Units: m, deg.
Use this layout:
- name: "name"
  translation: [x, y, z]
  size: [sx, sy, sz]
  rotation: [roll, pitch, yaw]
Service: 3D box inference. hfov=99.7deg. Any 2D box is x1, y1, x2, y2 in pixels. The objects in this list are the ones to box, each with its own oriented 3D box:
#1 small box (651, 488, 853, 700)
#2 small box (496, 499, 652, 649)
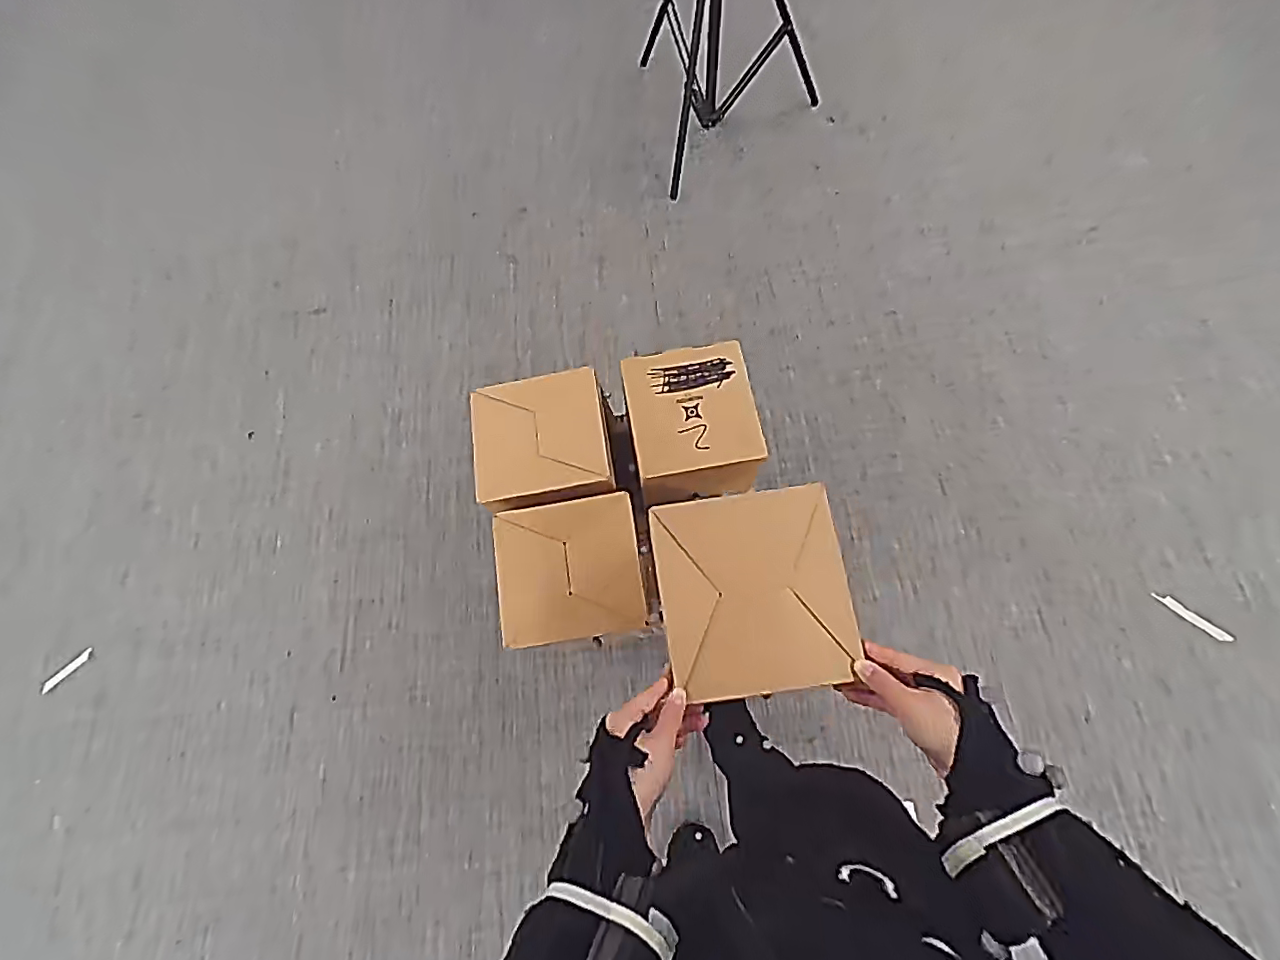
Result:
- name: "small box"
  translation: [0.104, 0.121, 0.565]
  size: [0.168, 0.176, 0.179]
  rotation: [-8, 75, 0]
- name: "small box"
  translation: [-0.085, 0.132, 0.736]
  size: [0.179, 0.176, 0.168]
  rotation: [-10, 74, 1]
